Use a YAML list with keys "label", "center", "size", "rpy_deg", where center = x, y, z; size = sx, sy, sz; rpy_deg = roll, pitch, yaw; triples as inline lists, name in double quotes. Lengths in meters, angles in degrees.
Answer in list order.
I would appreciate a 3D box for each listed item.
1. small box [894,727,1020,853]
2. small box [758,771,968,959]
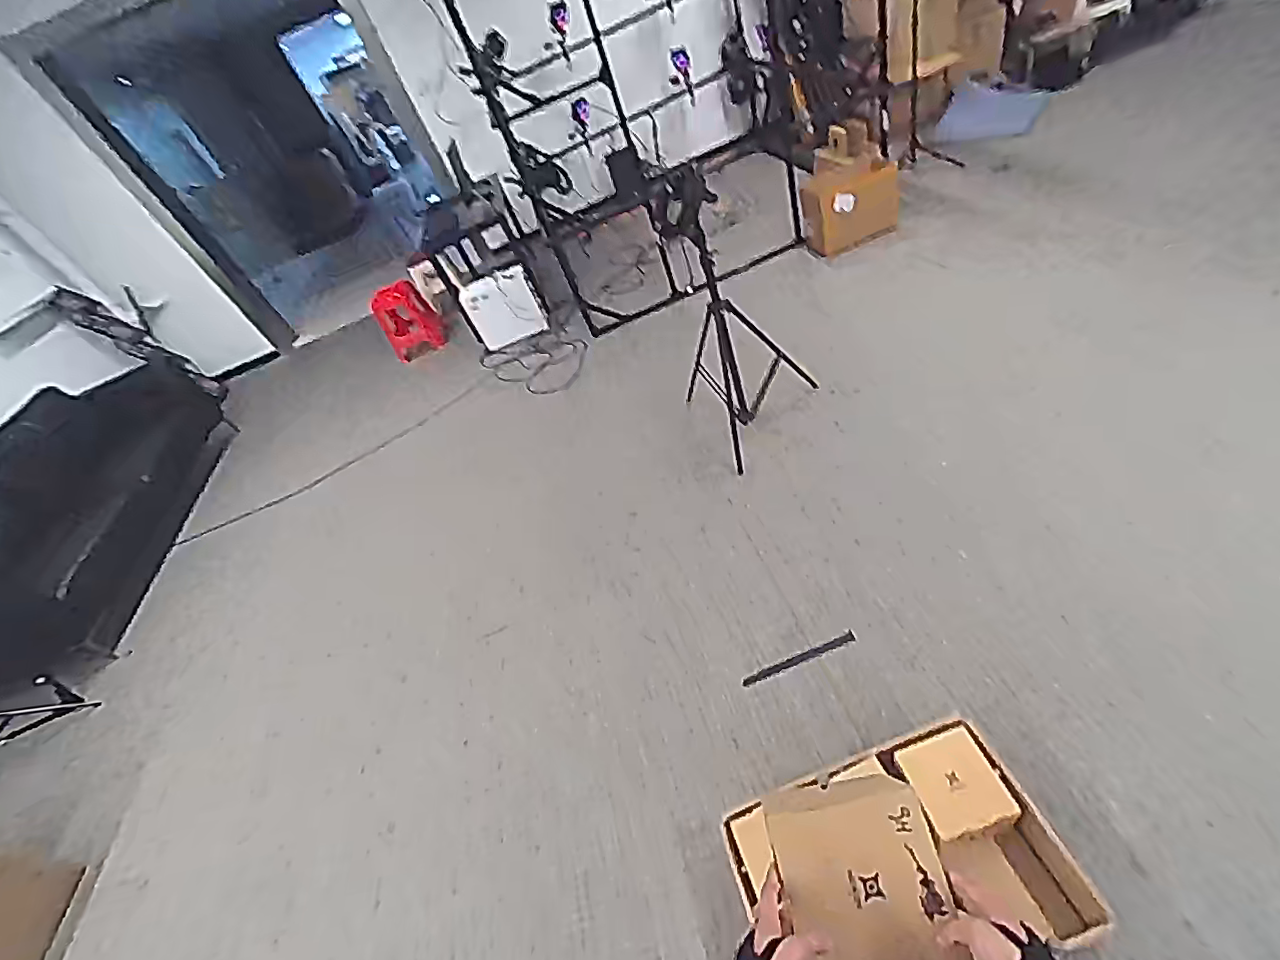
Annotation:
- label: "small box"
  center: [0.677, 0.679, 1.180]
  size: [0.168, 0.176, 0.179]
  rpy_deg: [-24, 44, 3]
- label: "small box"
  center: [0.252, 0.467, 0.658]
  size: [0.179, 0.176, 0.168]
  rpy_deg: [-15, 66, 6]
